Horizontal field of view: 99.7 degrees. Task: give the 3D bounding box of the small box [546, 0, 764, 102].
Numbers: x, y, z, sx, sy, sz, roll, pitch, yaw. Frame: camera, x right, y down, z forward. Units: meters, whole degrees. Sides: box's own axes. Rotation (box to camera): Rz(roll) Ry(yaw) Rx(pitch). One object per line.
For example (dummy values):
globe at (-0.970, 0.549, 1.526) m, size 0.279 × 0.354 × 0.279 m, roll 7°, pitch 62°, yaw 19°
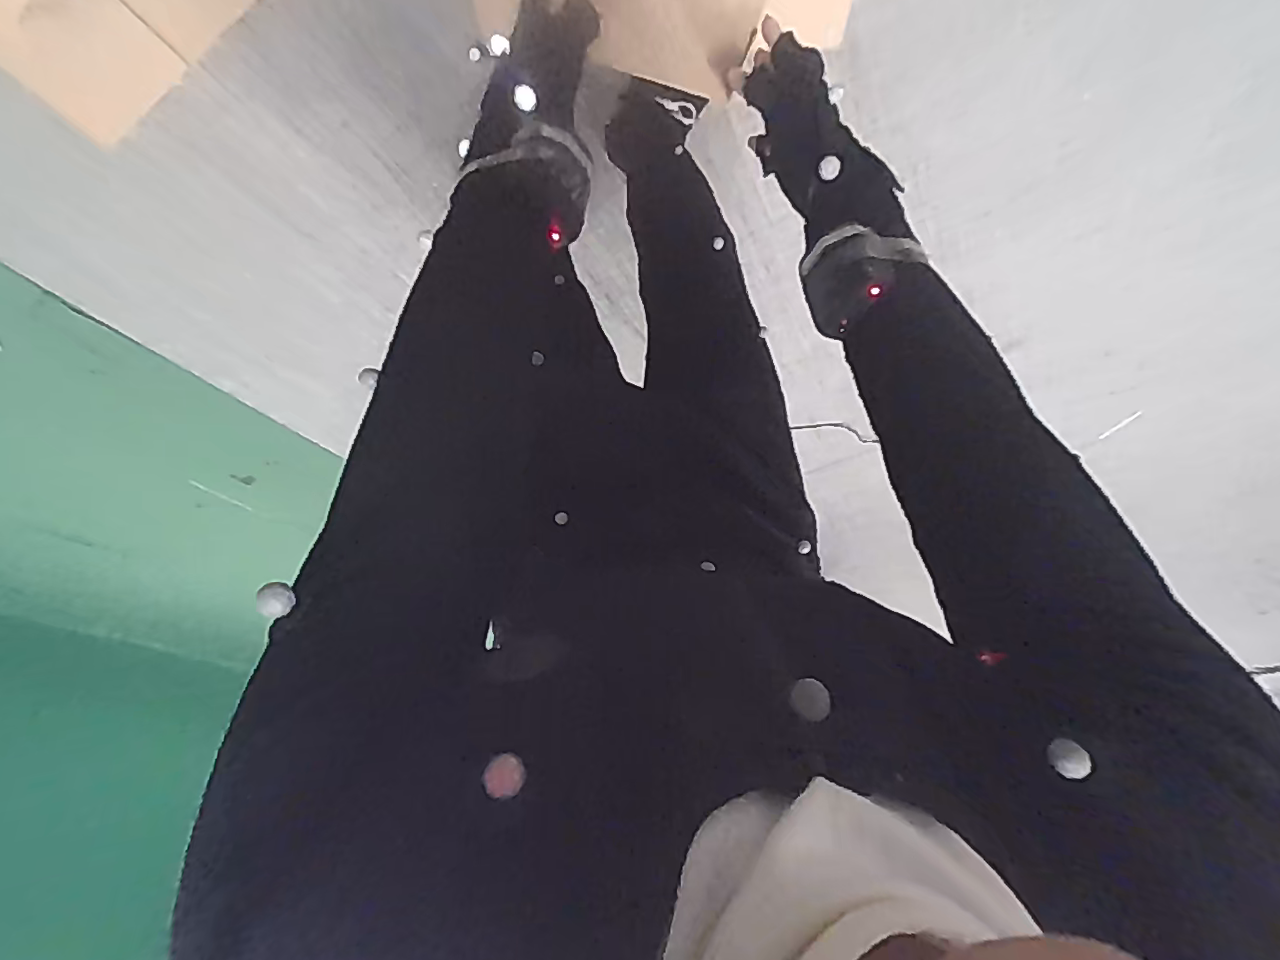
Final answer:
small box at (0.023, -0.480, 0.475) m, size 0.179 × 0.176 × 0.168 m, roll 10°, pitch 145°, yaw -10°
